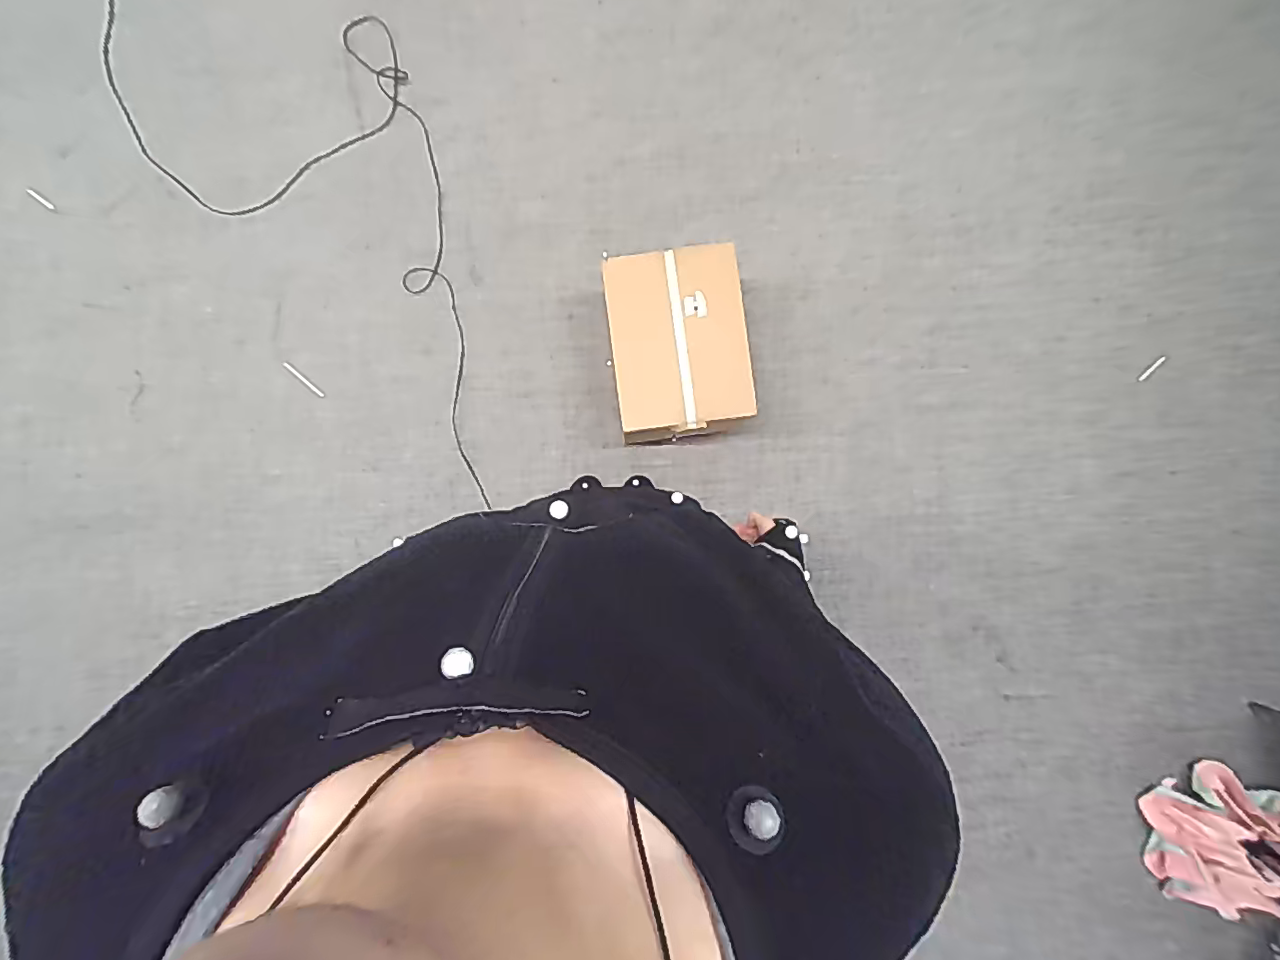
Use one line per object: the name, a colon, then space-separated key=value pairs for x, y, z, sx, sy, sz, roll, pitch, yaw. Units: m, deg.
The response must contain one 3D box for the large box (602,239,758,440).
large box: x=0.091 y=-0.334 z=1.383 sx=0.320 sy=0.320 sz=0.408 roll=-7 pitch=88 yaw=-1
